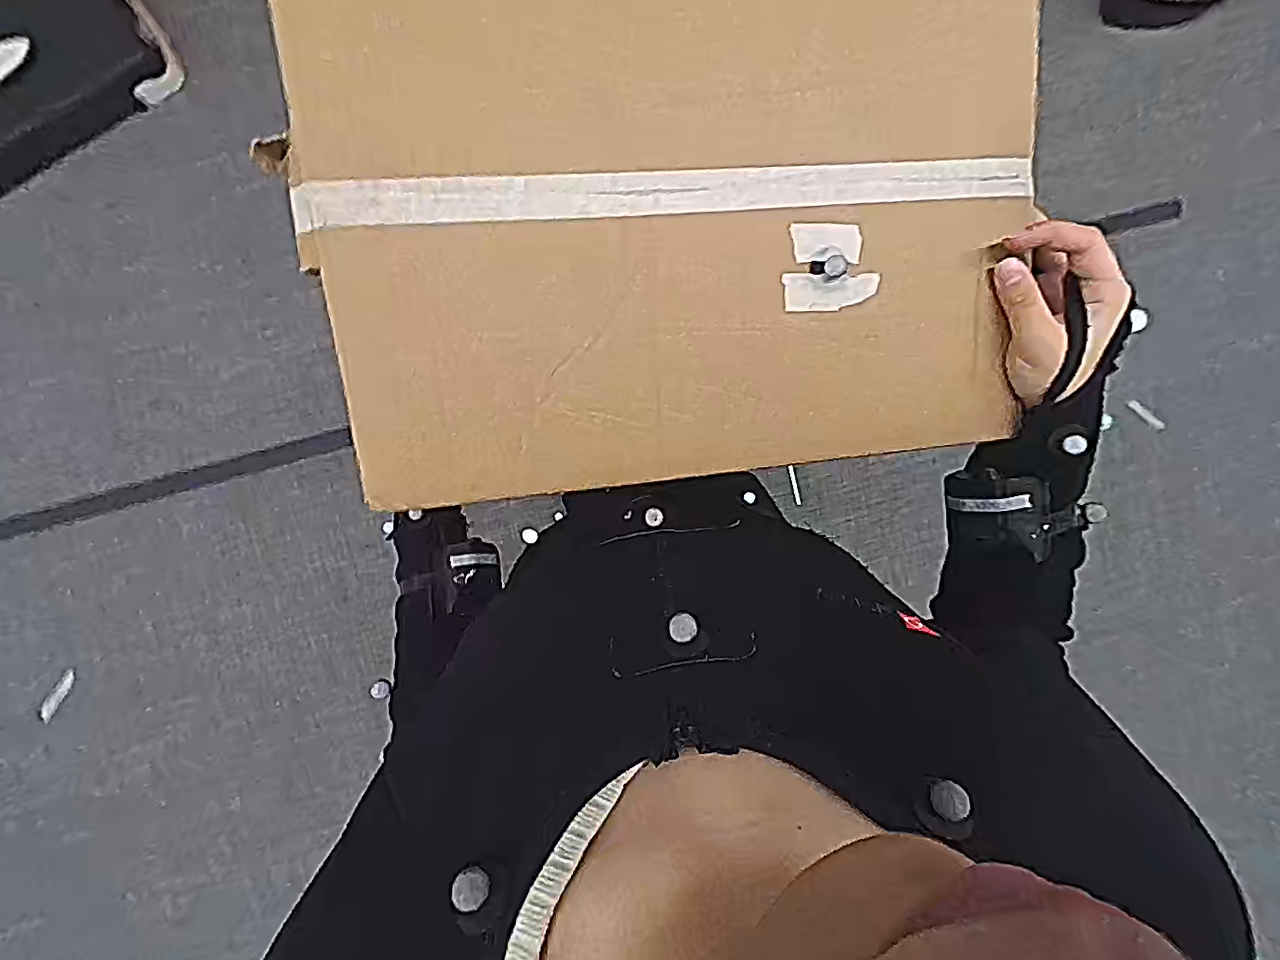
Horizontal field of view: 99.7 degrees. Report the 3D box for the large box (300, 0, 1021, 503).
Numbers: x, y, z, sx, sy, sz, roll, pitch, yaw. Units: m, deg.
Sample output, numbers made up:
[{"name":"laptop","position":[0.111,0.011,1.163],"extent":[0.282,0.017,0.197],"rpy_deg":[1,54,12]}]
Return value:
[{"name":"large box","position":[0.010,-0.183,0.450],"extent":[0.408,0.320,0.320],"rpy_deg":[-7,101,-11]}]
